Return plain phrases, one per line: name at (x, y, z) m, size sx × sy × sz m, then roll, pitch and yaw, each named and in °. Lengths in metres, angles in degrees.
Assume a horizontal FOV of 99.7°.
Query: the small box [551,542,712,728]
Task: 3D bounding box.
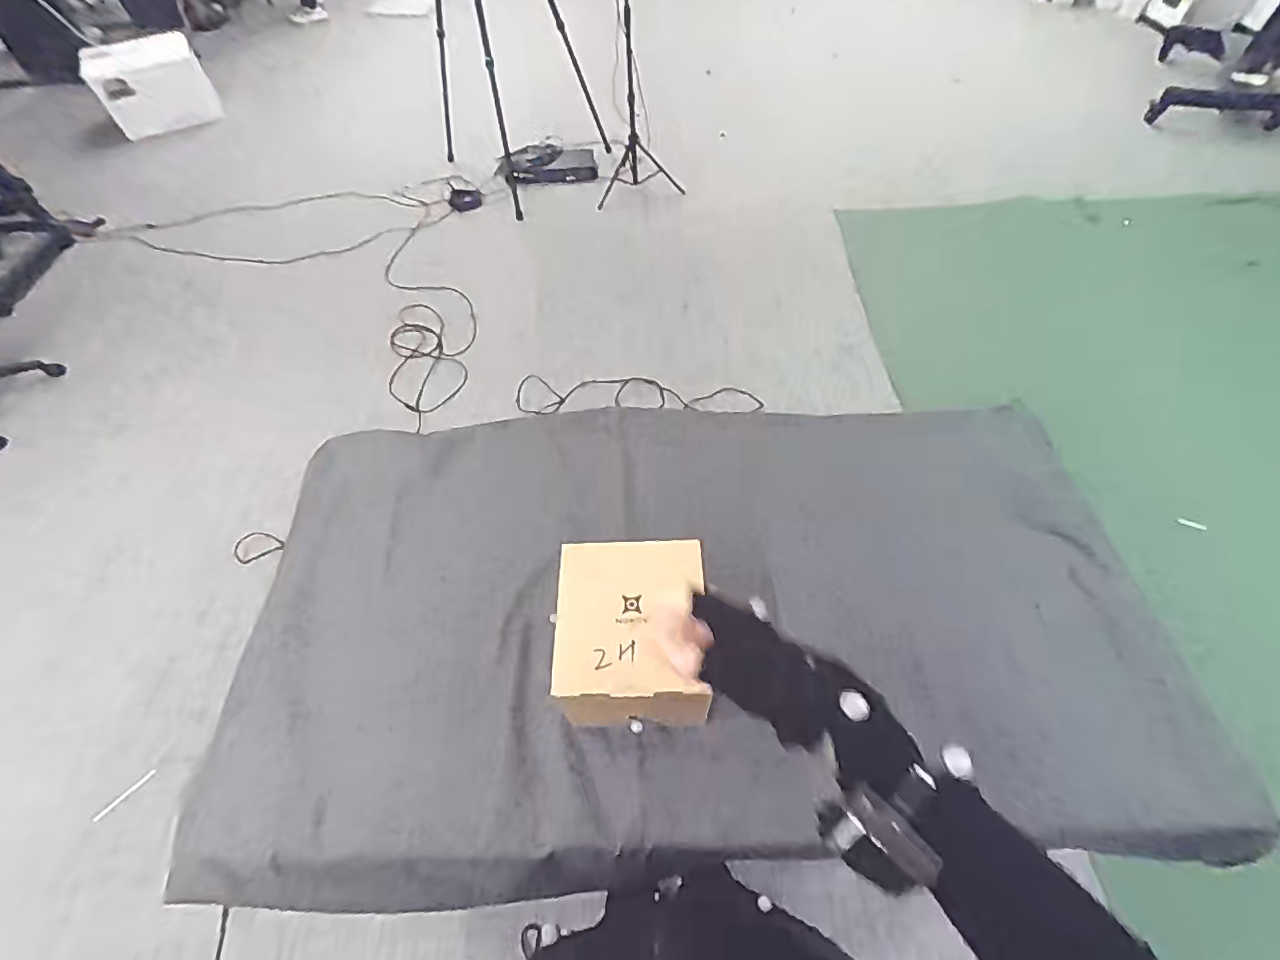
small box at (-0.006, 0.191, 0.656) m, size 0.168 × 0.176 × 0.179 m, roll -2°, pitch 56°, yaw 2°
